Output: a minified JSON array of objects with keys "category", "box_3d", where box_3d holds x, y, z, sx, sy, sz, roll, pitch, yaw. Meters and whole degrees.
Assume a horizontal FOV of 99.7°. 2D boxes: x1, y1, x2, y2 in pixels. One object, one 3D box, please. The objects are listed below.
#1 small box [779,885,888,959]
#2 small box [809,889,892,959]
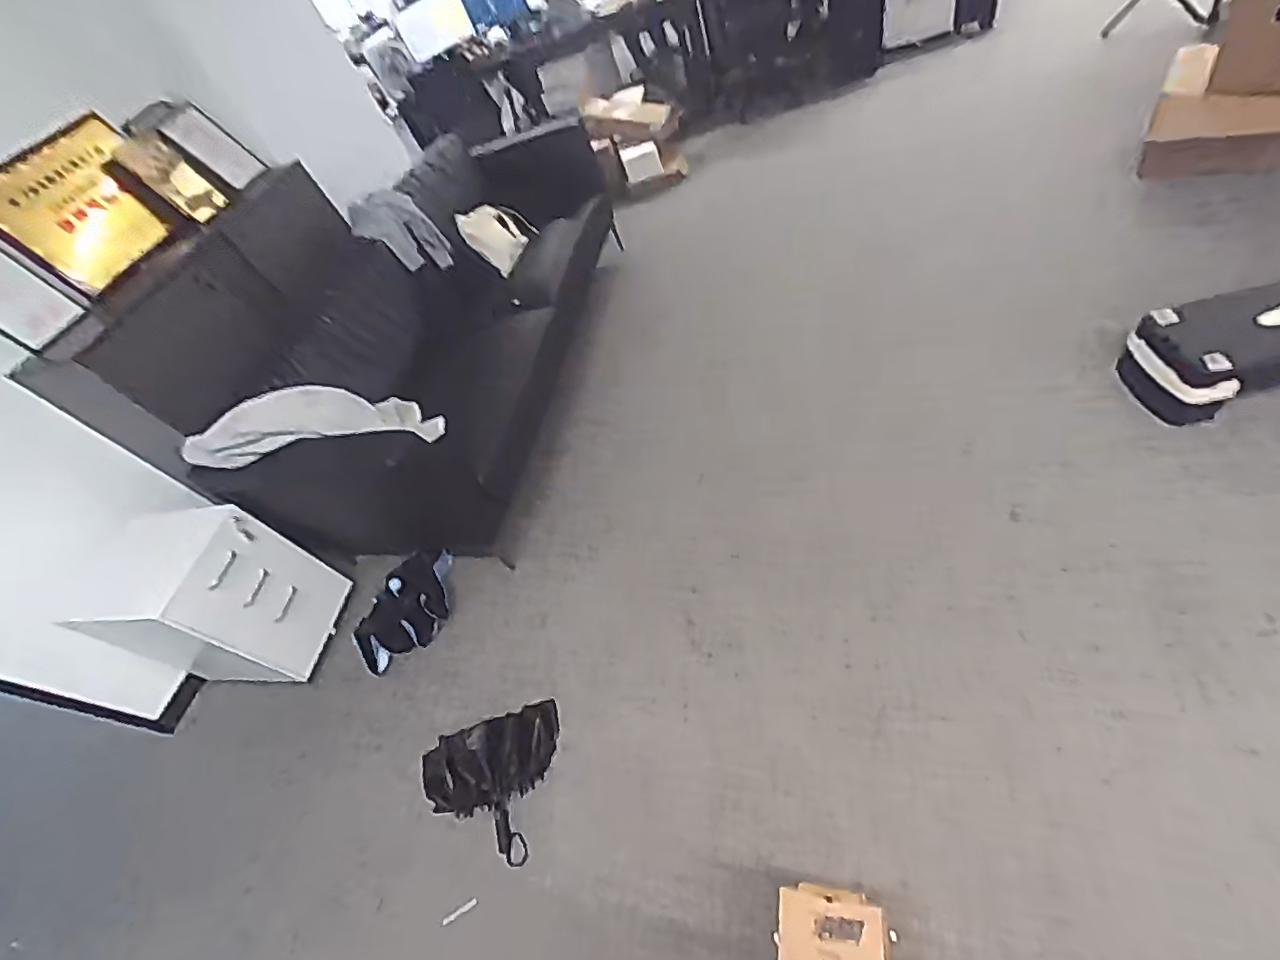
[{"category":"small box","box_3d":[0.334,0.823,0.928,0.168,0.176,0.179,-4,52,22]},{"category":"small box","box_3d":[0.398,0.916,1.048,0.168,0.176,0.179,-6,53,22]}]
